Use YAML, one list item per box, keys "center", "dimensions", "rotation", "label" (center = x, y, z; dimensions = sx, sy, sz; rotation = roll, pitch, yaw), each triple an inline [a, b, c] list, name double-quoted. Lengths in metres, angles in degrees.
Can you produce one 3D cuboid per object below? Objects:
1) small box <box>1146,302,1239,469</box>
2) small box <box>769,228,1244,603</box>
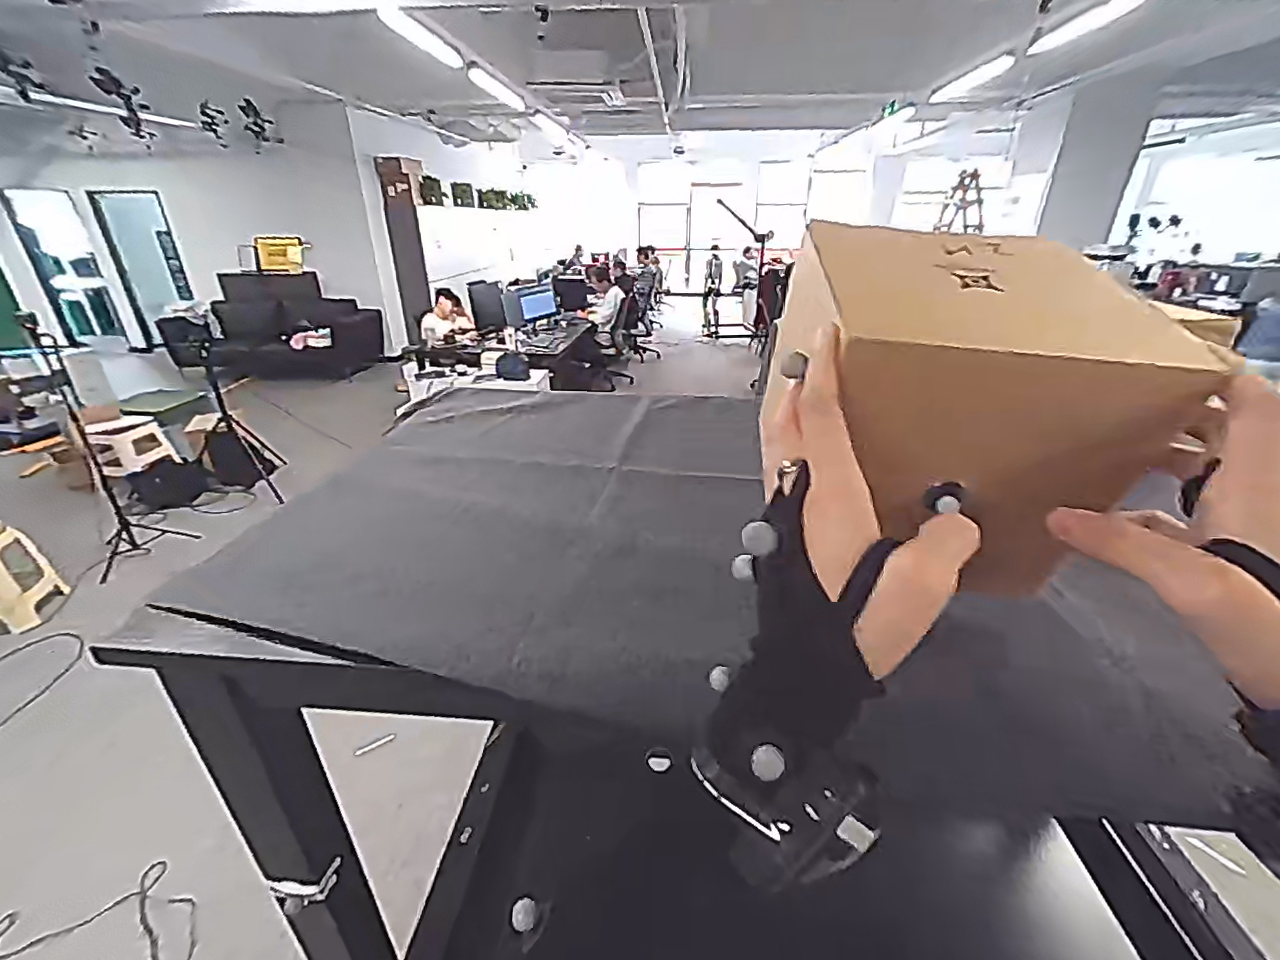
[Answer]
- center: [0.532, -0.123, 0.657]
  dimensions: [0.168, 0.176, 0.179]
  rotation: [5, 26, 9]
  label: "small box"
- center: [0.183, -0.043, 0.347]
  dimensions: [0.168, 0.176, 0.179]
  rotation: [6, 42, 4]
  label: "small box"
